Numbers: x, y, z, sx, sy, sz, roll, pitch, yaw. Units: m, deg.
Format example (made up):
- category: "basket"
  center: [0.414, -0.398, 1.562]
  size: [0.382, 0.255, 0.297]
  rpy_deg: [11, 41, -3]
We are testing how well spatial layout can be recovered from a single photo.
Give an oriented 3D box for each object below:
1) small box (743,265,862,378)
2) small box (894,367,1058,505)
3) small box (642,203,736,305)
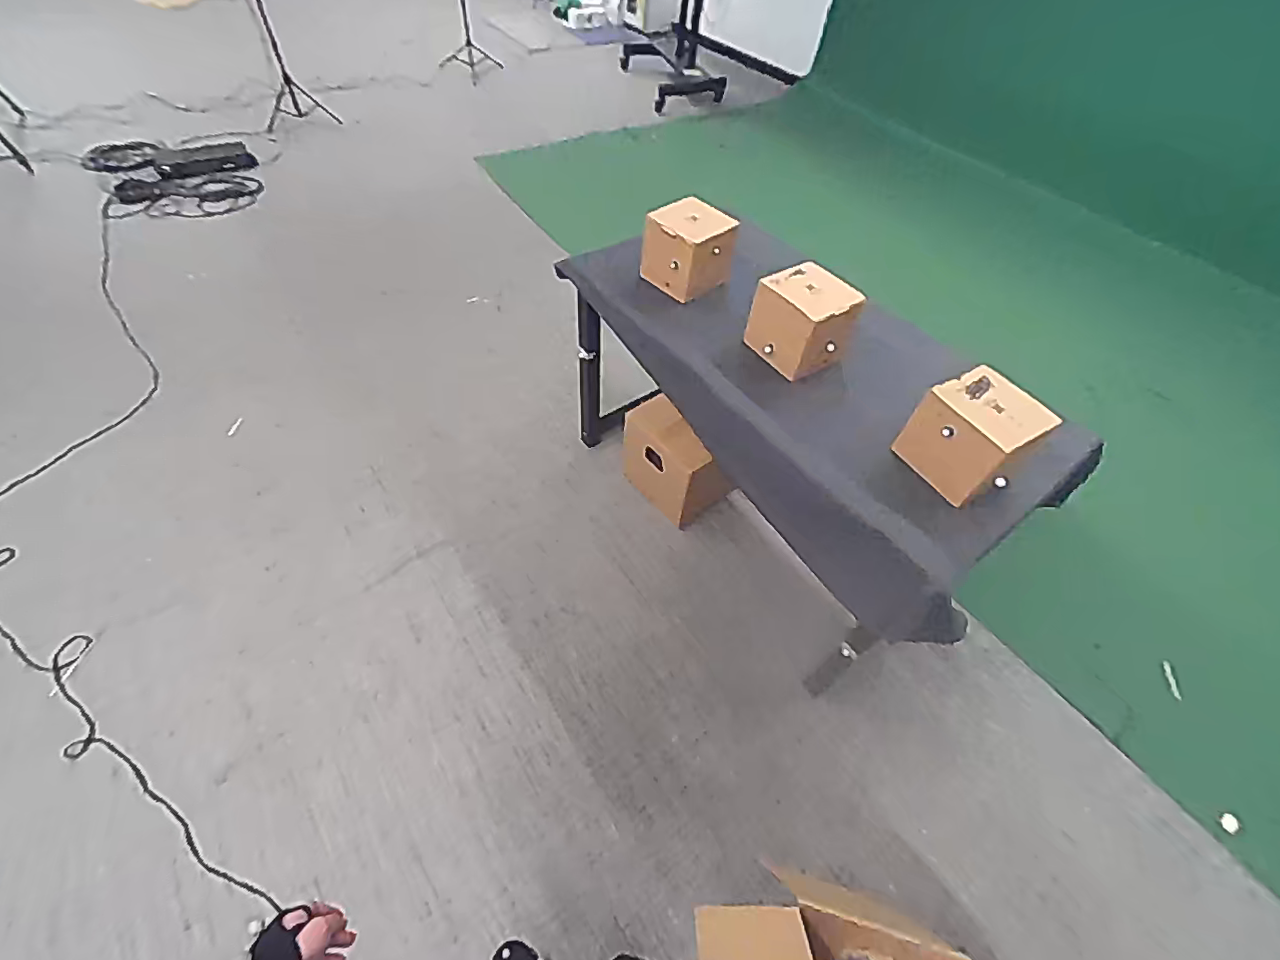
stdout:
- category: "small box"
  center: [0.366, -0.358, 1.246]
  size: [0.168, 0.176, 0.179]
  rpy_deg: [-27, 59, -23]
- category: "small box"
  center: [0.637, -0.084, 1.050]
  size: [0.168, 0.176, 0.179]
  rpy_deg: [-23, 58, -21]
- category: "small box"
  center: [0.118, -0.583, 1.403]
  size: [0.168, 0.176, 0.179]
  rpy_deg: [41, 57, 22]
